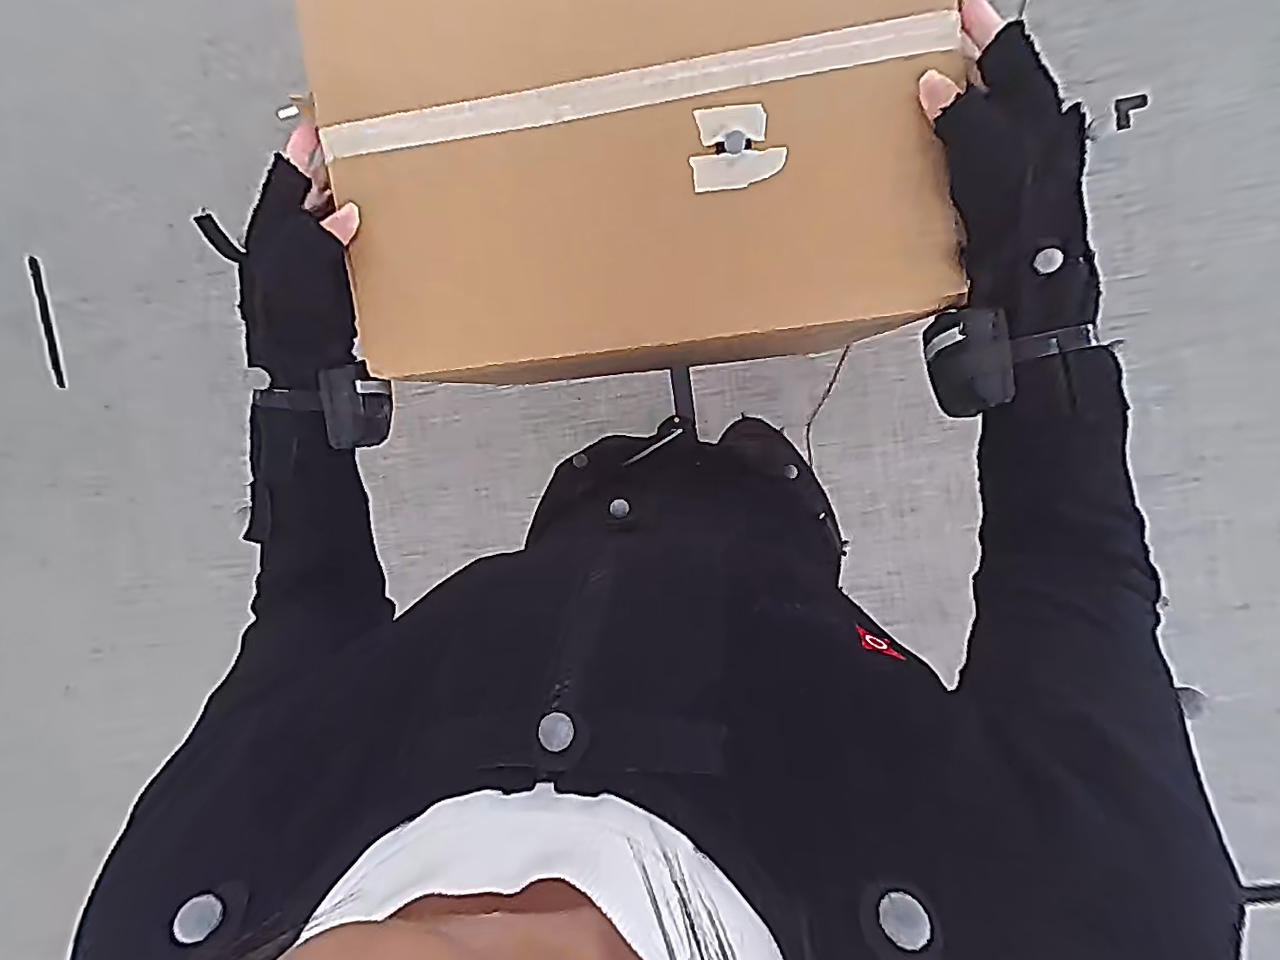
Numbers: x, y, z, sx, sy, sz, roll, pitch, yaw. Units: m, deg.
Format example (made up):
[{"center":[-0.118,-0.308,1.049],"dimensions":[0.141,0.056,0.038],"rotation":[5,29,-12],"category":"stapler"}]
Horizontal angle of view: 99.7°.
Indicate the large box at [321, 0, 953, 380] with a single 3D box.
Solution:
[{"center":[0.003,-0.277,0.502],"dimensions":[0.408,0.320,0.320],"rotation":[-6,99,5],"category":"large box"}]
